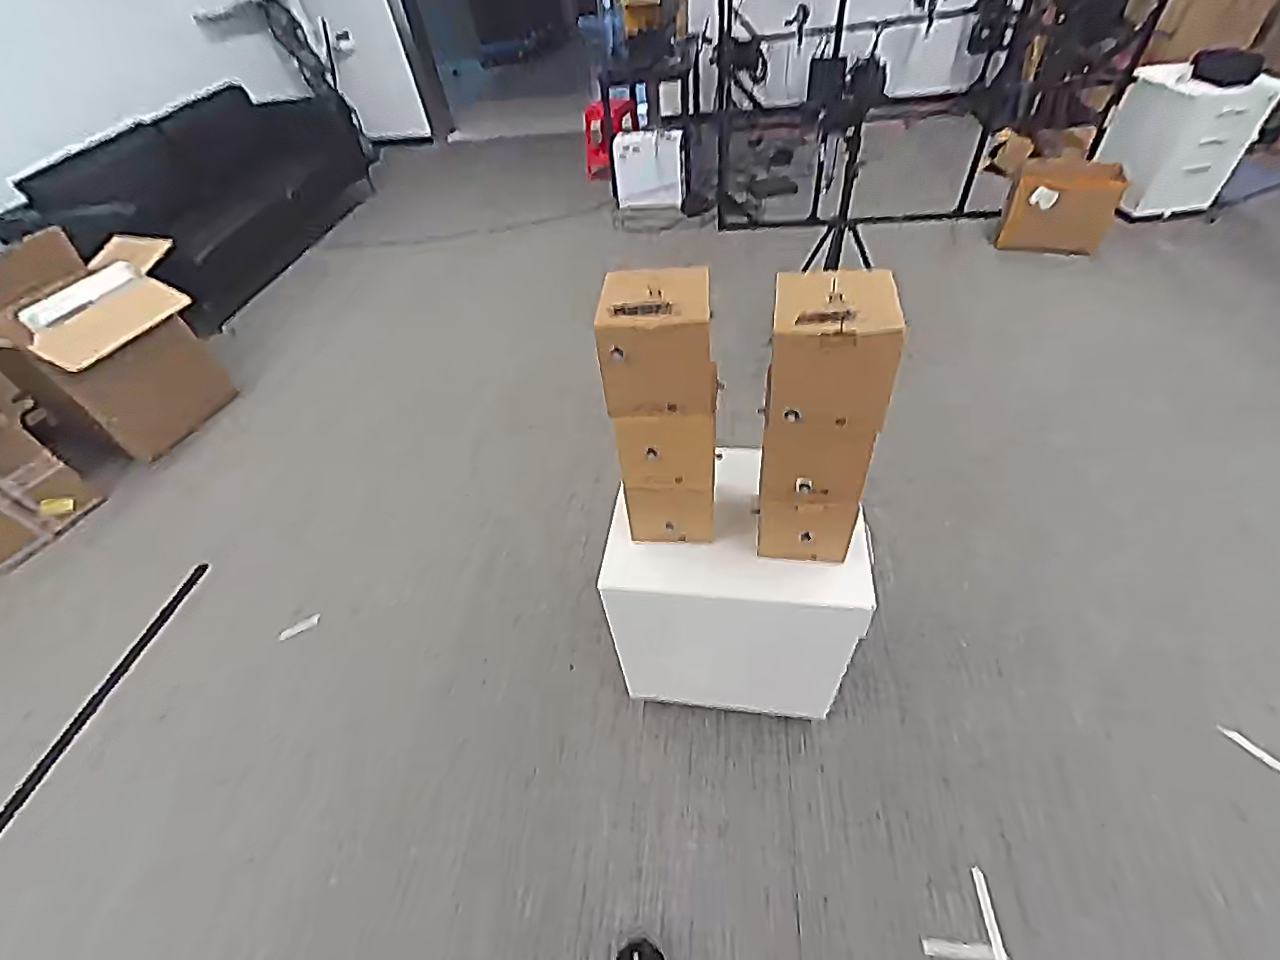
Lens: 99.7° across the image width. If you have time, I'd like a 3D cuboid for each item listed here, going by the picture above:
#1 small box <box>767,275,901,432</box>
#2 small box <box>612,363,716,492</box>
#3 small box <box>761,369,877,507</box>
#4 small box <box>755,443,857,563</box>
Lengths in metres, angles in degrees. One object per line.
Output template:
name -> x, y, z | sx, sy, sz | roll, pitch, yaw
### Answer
small box -> 0.280, -0.187, 0.812 | 0.168, 0.176, 0.179 | 3, 46, 13
small box -> 0.052, -0.093, 0.981 | 0.168, 0.176, 0.179 | 1, 46, 9
small box -> 0.297, -0.076, 0.932 | 0.168, 0.176, 0.179 | 2, 47, 12
small box -> 0.312, 0.043, 1.042 | 0.168, 0.176, 0.179 | 3, 48, 10
